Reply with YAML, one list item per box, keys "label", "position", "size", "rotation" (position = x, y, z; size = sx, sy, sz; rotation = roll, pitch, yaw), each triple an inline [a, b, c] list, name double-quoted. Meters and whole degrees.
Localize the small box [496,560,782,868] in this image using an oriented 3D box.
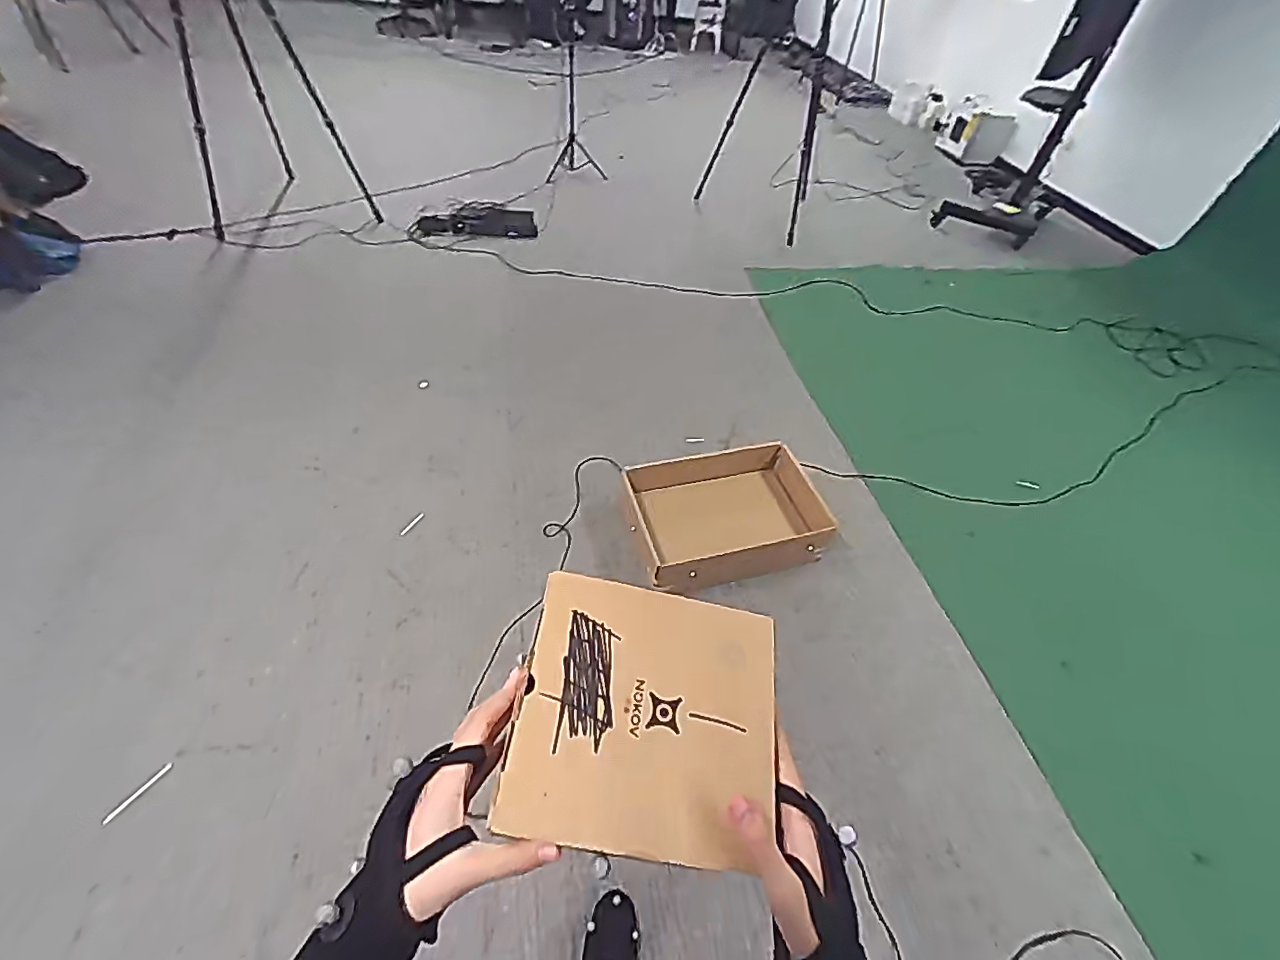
- label: "small box"
  position: [-0.006, 0.188, 0.422]
  size: [0.179, 0.176, 0.168]
  rotation: [15, 55, -7]
